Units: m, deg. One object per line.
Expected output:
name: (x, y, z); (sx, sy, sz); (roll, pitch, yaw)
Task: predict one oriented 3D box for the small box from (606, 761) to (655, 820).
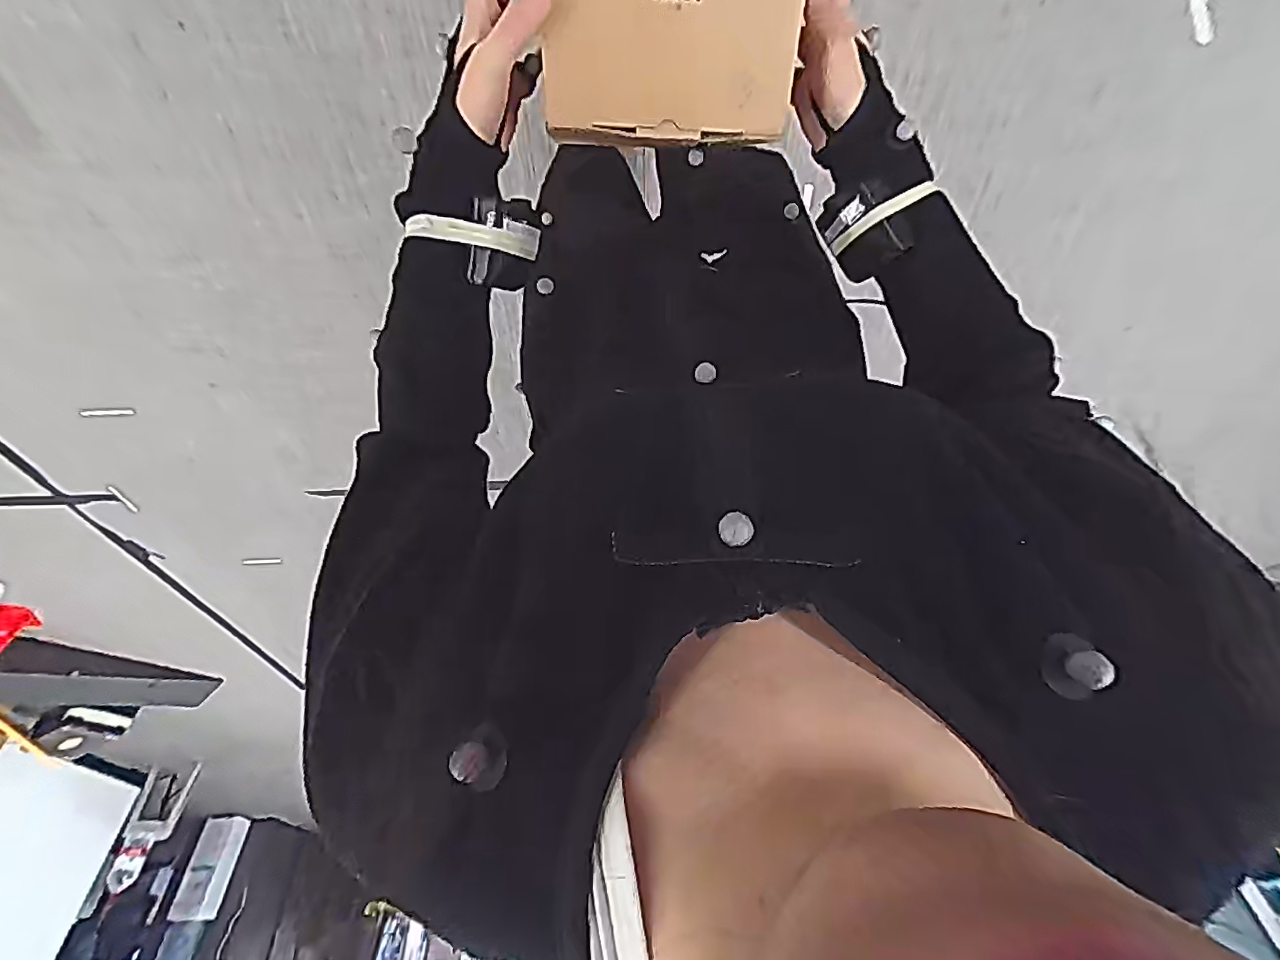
small box: (-0.037, 1.194, 2.082); (0.179, 0.176, 0.168); (-3, 138, 1)
